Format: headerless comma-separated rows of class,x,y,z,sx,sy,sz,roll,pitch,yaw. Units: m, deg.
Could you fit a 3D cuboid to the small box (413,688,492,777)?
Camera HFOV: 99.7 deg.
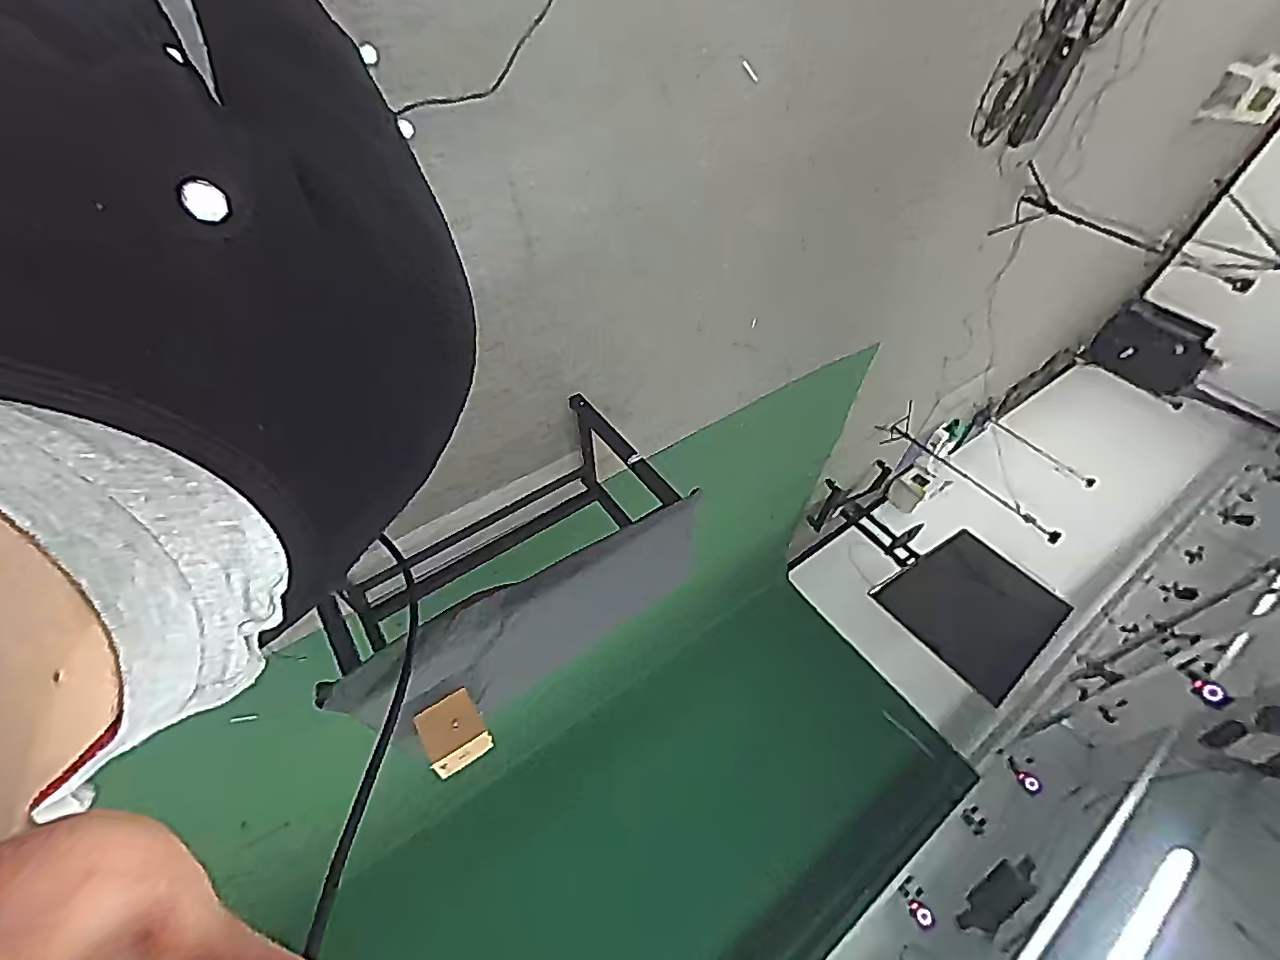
small box,-0.602,0.805,1.737,0.179,0.176,0.168,-27,146,-27
